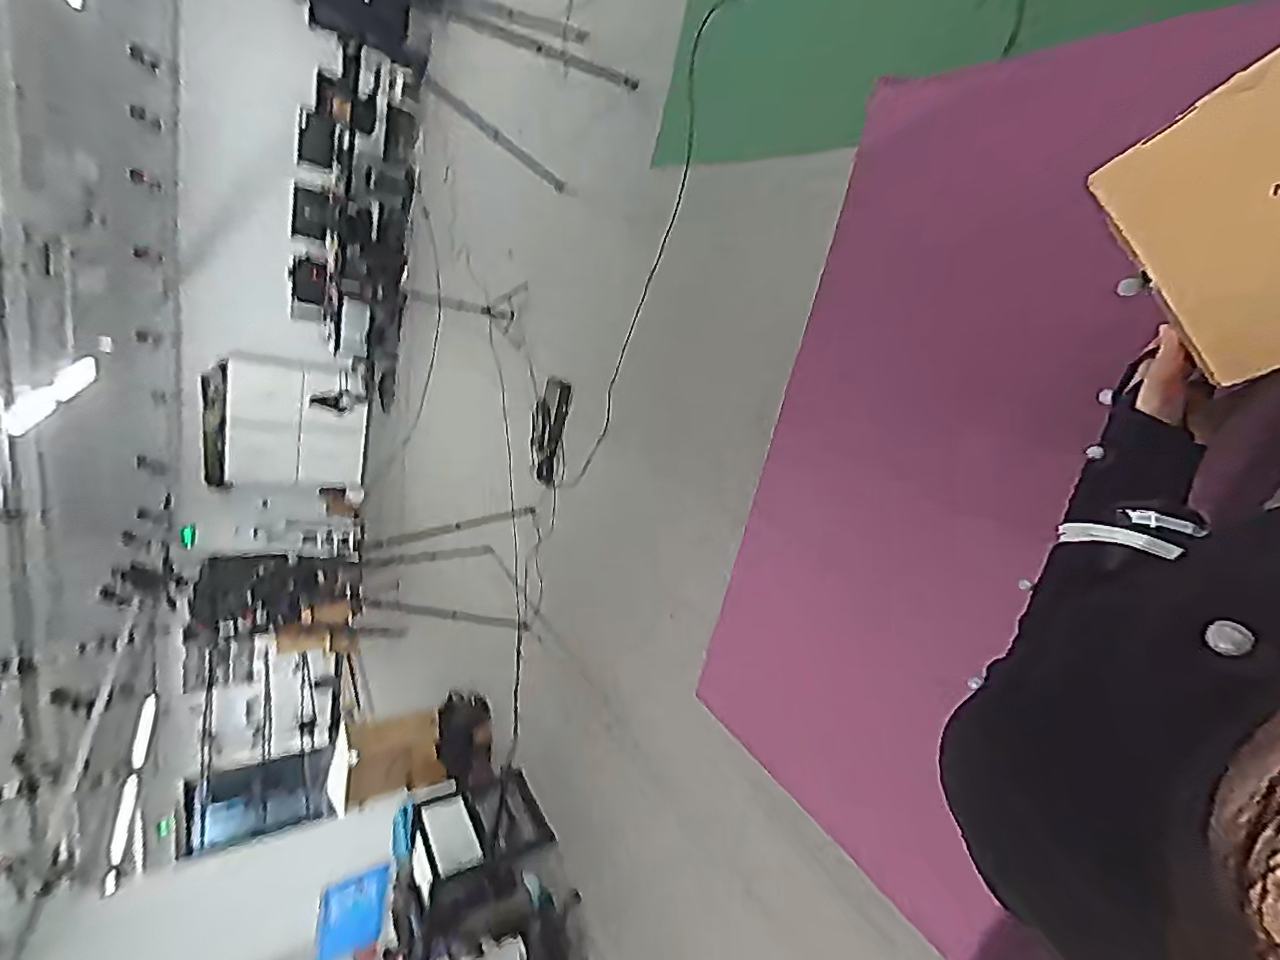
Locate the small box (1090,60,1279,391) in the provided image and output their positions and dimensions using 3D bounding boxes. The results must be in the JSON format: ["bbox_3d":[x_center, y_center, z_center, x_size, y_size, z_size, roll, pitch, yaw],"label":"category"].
[{"bbox_3d":[0.462,-0.176,0.374,0.168,0.176,0.179,-31,73,45],"label":"small box"}]
